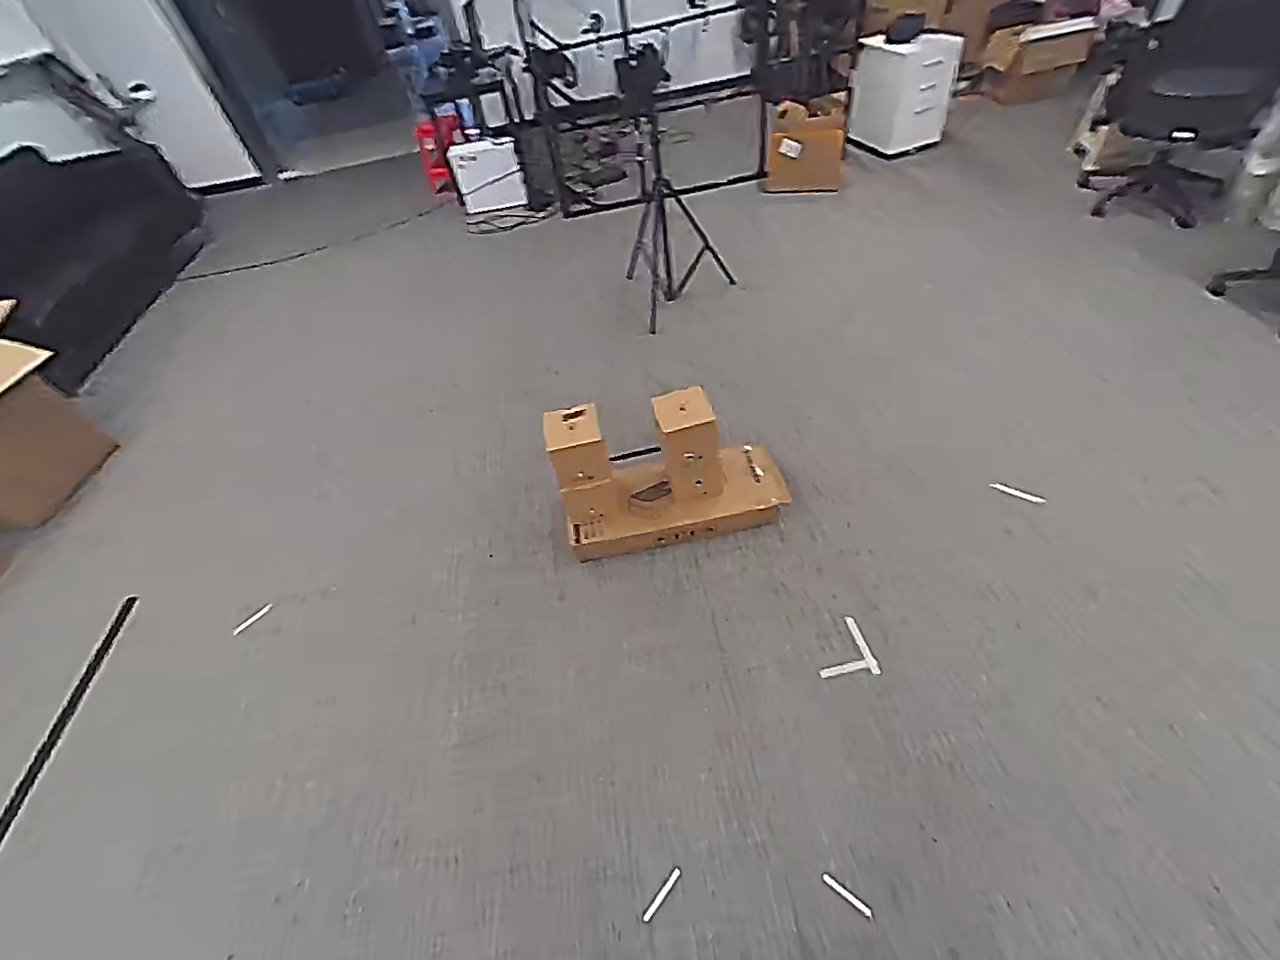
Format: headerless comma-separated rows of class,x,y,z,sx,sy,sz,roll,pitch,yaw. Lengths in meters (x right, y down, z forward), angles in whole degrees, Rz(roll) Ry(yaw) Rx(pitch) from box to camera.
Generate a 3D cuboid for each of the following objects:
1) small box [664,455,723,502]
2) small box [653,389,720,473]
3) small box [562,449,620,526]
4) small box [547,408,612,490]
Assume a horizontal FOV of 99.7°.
small box,0.177,-0.044,1.811,0.168,0.176,0.179,-13,47,0
small box,0.146,-0.152,1.691,0.168,0.176,0.179,-16,47,-3
small box,-0.166,0.025,1.803,0.168,0.176,0.179,-12,47,-1
small box,-0.190,-0.097,1.695,0.168,0.176,0.179,-13,47,-2
